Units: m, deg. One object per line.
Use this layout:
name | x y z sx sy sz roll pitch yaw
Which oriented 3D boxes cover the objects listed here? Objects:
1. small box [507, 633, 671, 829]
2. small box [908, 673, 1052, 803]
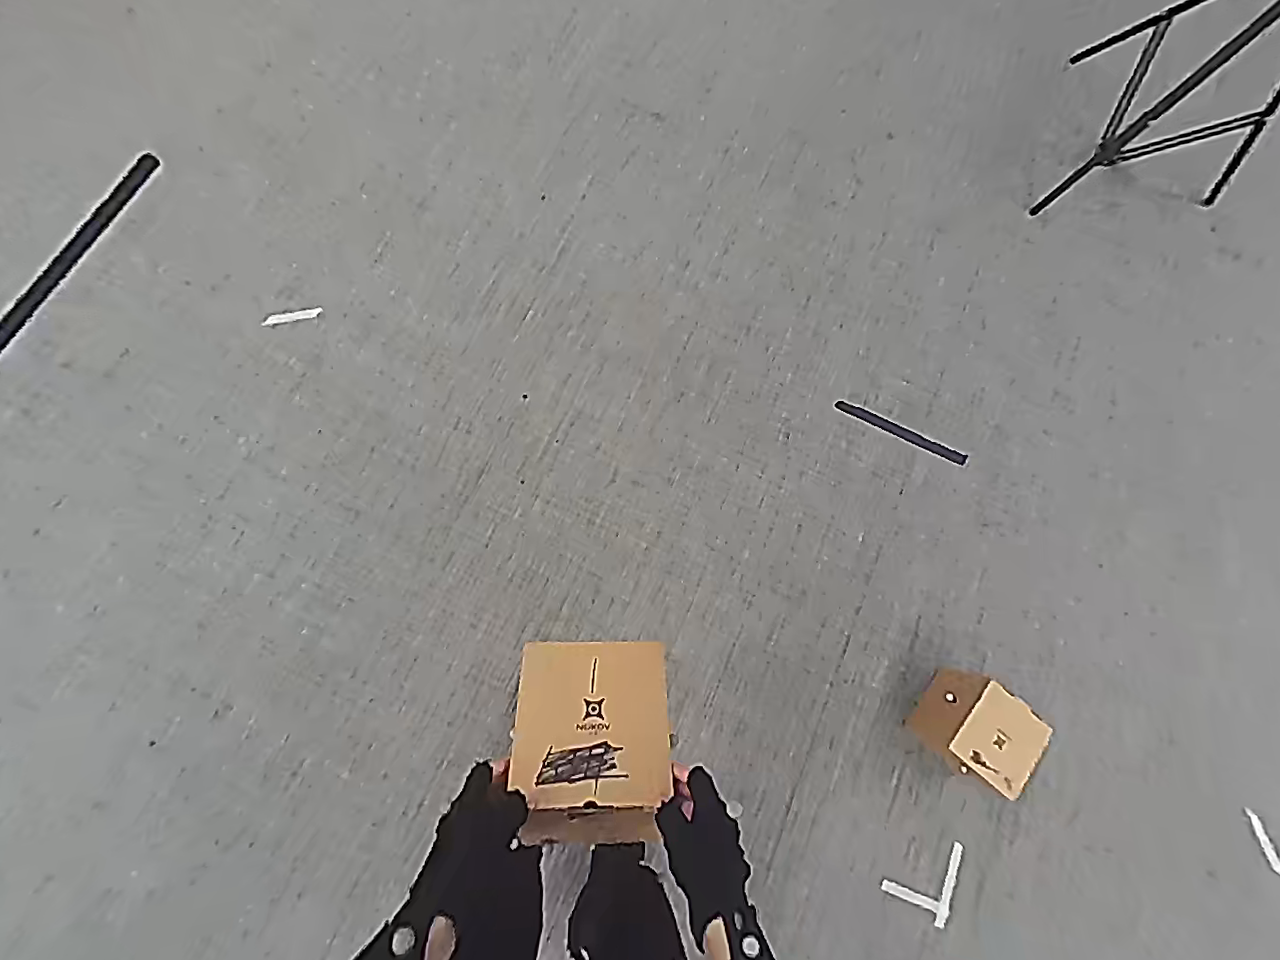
small box | -0.054 0.301 0.642 0.168 0.176 0.179 1 46 -4
small box | 0.724 0.545 1.173 0.168 0.176 0.179 40 77 4
